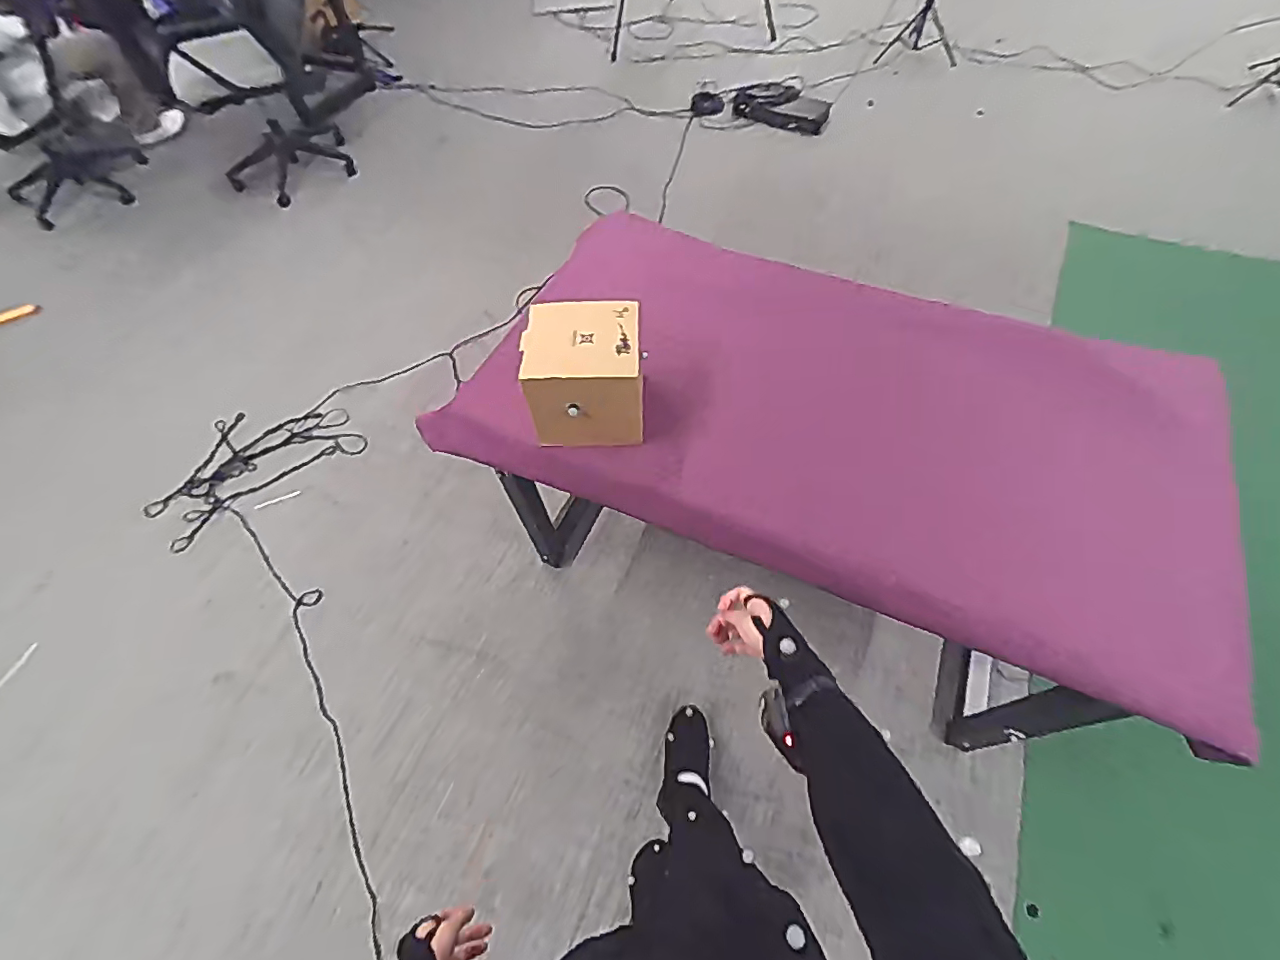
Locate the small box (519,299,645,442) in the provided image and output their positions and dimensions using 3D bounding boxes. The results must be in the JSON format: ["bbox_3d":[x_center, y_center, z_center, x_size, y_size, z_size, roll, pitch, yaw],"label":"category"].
[{"bbox_3d":[-0.083,-0.173,0.886,0.179,0.176,0.168,-1,58,2],"label":"small box"}]
